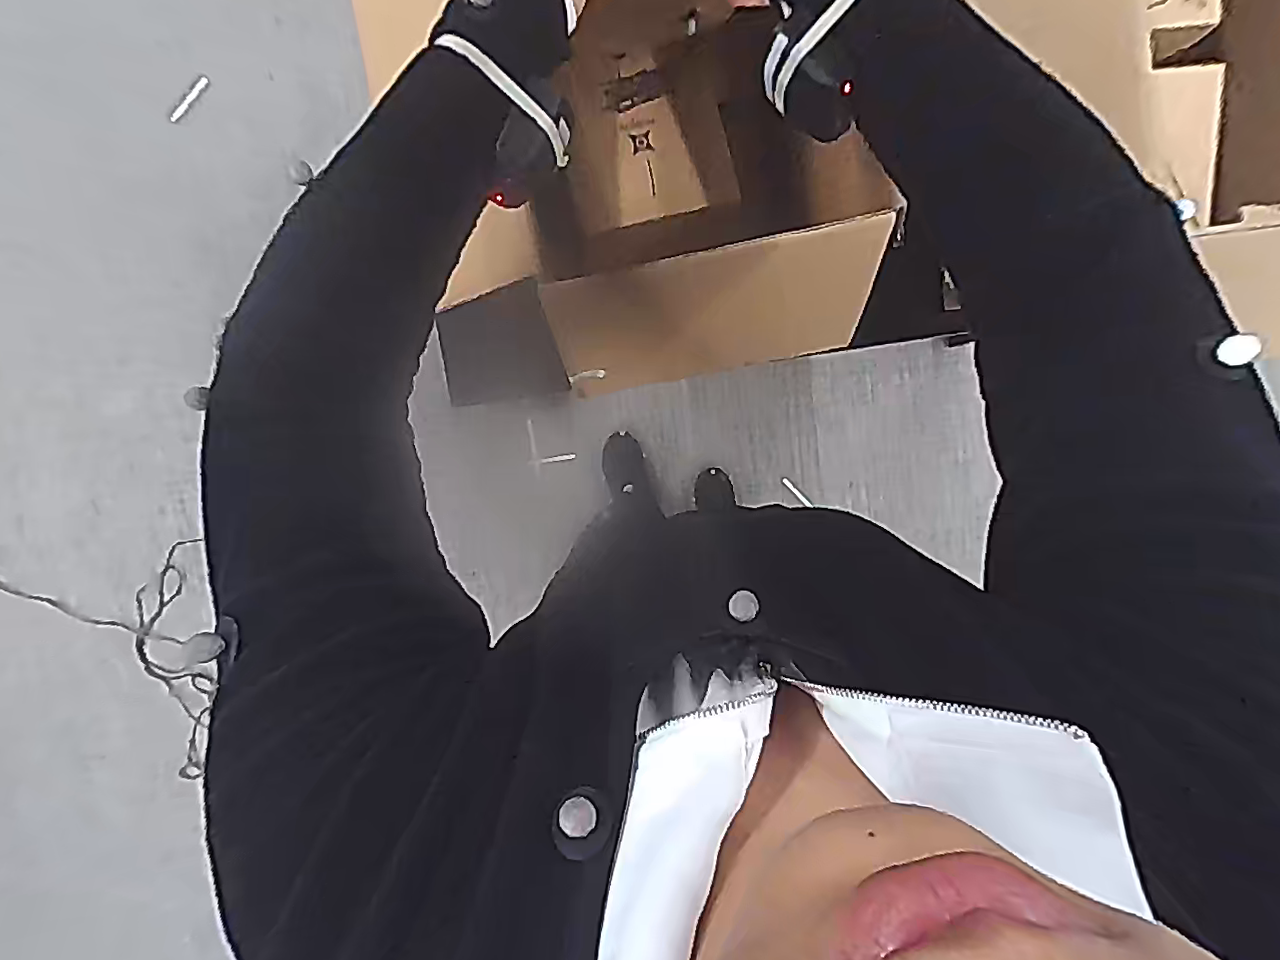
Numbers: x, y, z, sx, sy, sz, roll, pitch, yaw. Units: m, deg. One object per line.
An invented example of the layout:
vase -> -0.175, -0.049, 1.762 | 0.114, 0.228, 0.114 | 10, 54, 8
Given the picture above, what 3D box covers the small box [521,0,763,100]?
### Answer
small box -> -0.014, -0.433, 0.439 | 0.179, 0.176, 0.168 | -11, 115, -3
